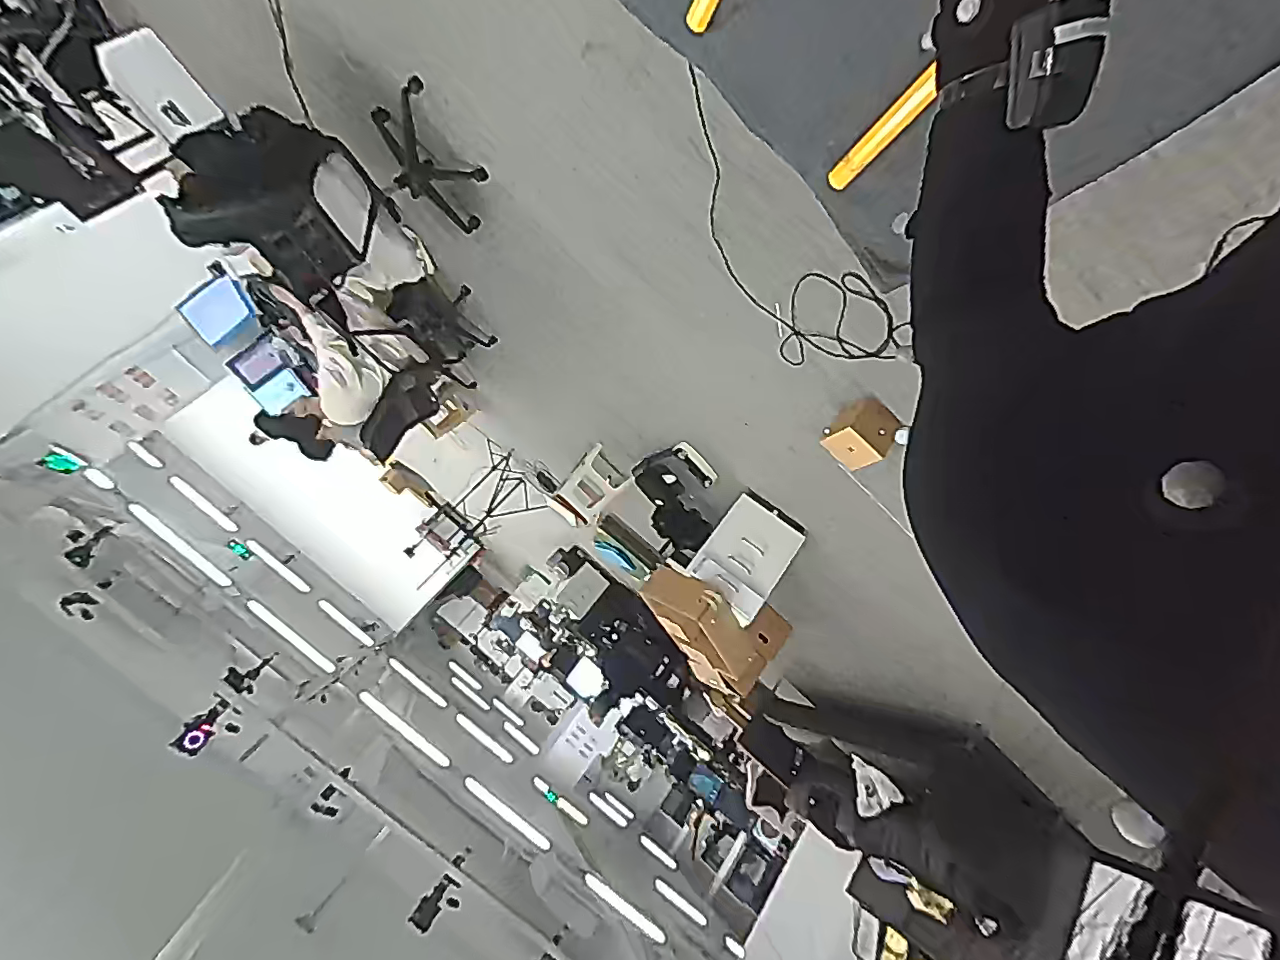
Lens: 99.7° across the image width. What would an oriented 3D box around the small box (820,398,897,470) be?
[{"bbox_3d":[0.789,-0.166,1.934,0.168,0.176,0.179,42,158,-4],"label":"small box"}]
